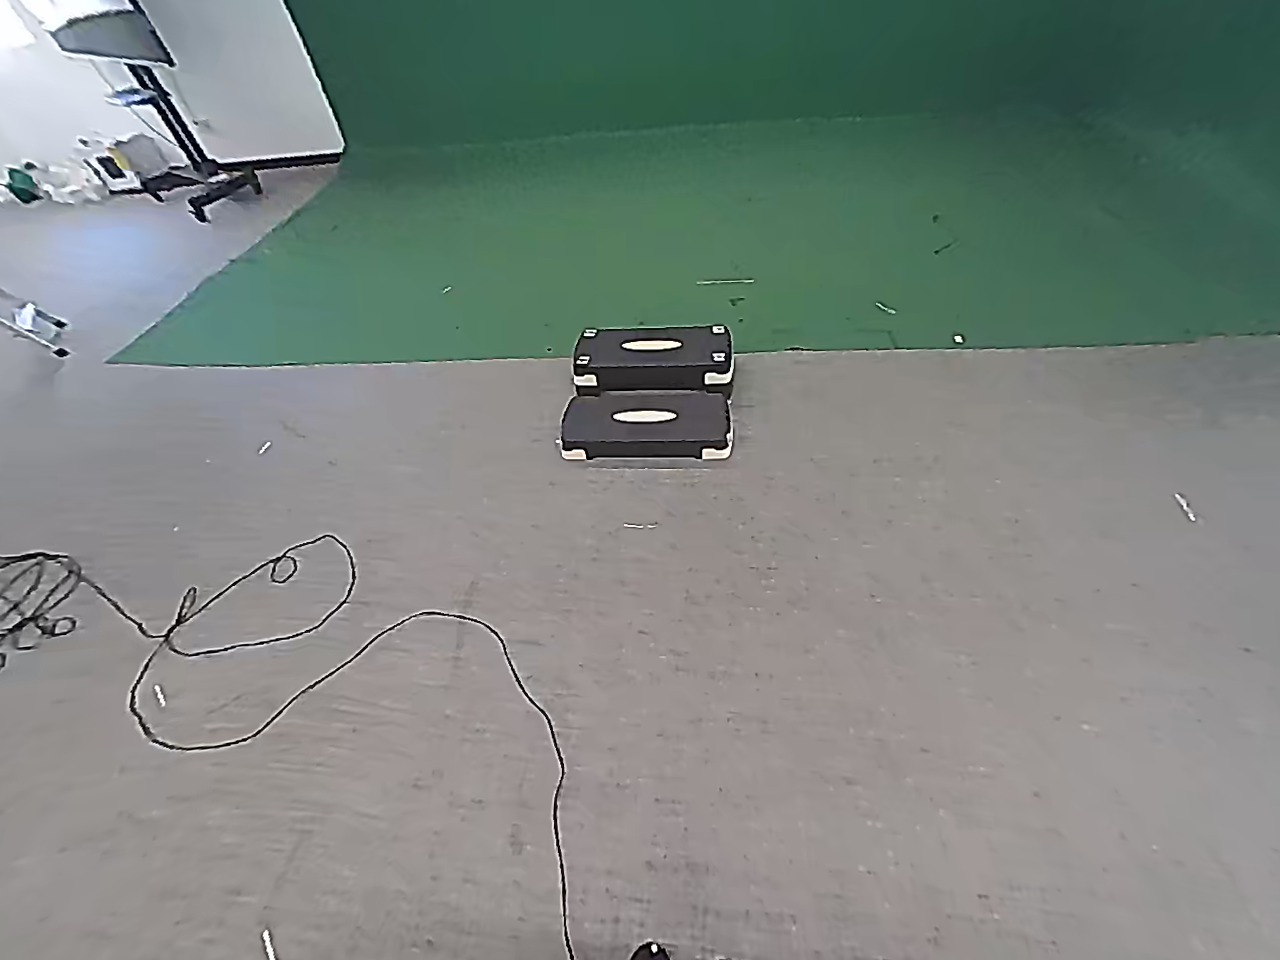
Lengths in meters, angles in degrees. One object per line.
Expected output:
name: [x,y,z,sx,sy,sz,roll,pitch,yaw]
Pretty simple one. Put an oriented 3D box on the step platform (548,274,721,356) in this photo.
step platform: [-0.016,-0.668,2.201,0.684,0.204,0.286,0,49,8]
